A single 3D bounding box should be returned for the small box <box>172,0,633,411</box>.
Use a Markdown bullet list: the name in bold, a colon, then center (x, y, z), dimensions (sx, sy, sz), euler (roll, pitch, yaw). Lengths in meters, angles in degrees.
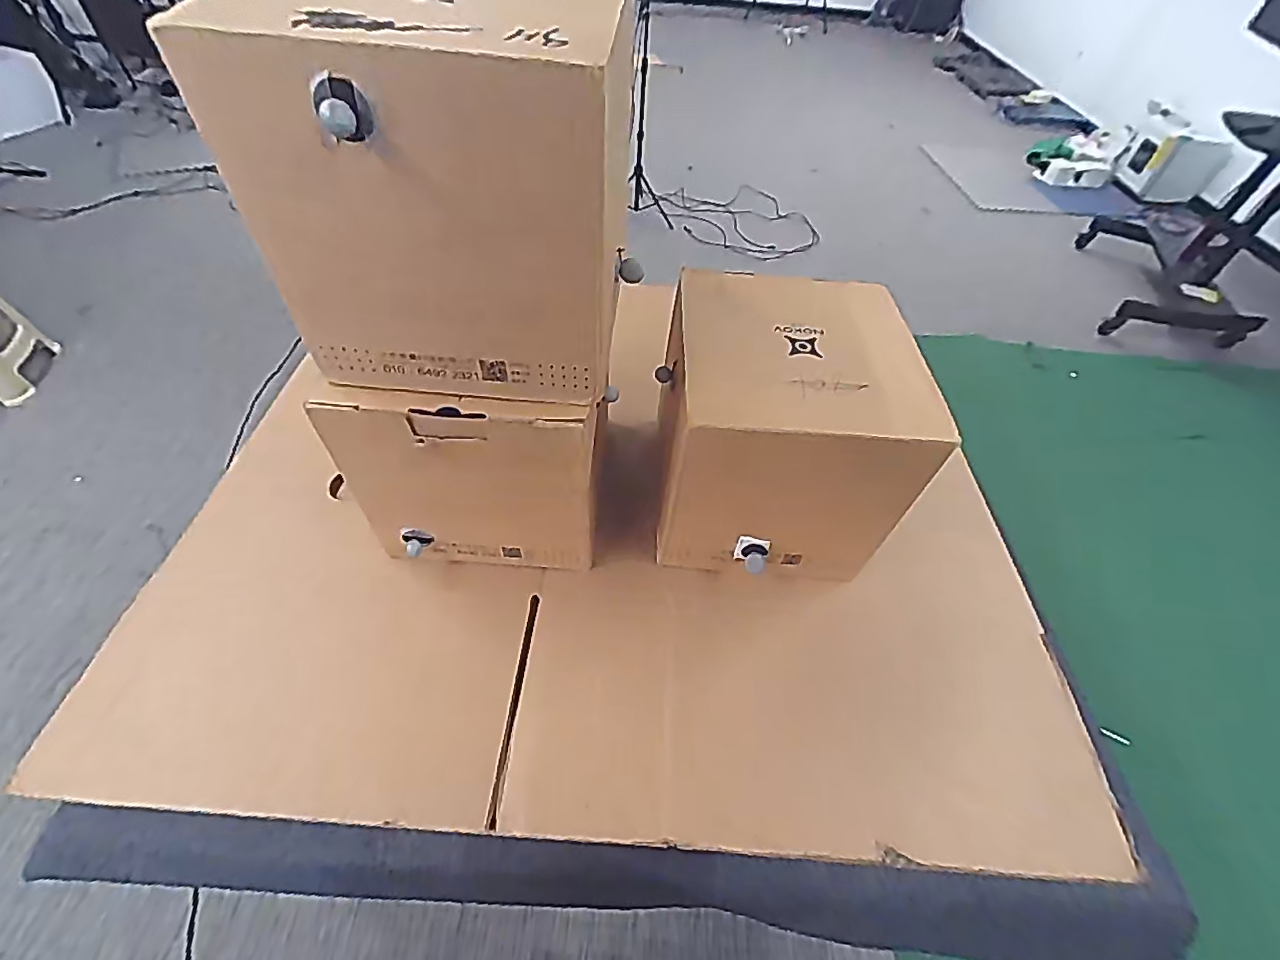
- **small box**: center (-0.097, -0.166, 0.318), dimensions (0.168, 0.176, 0.179), euler (5, 50, 0)
